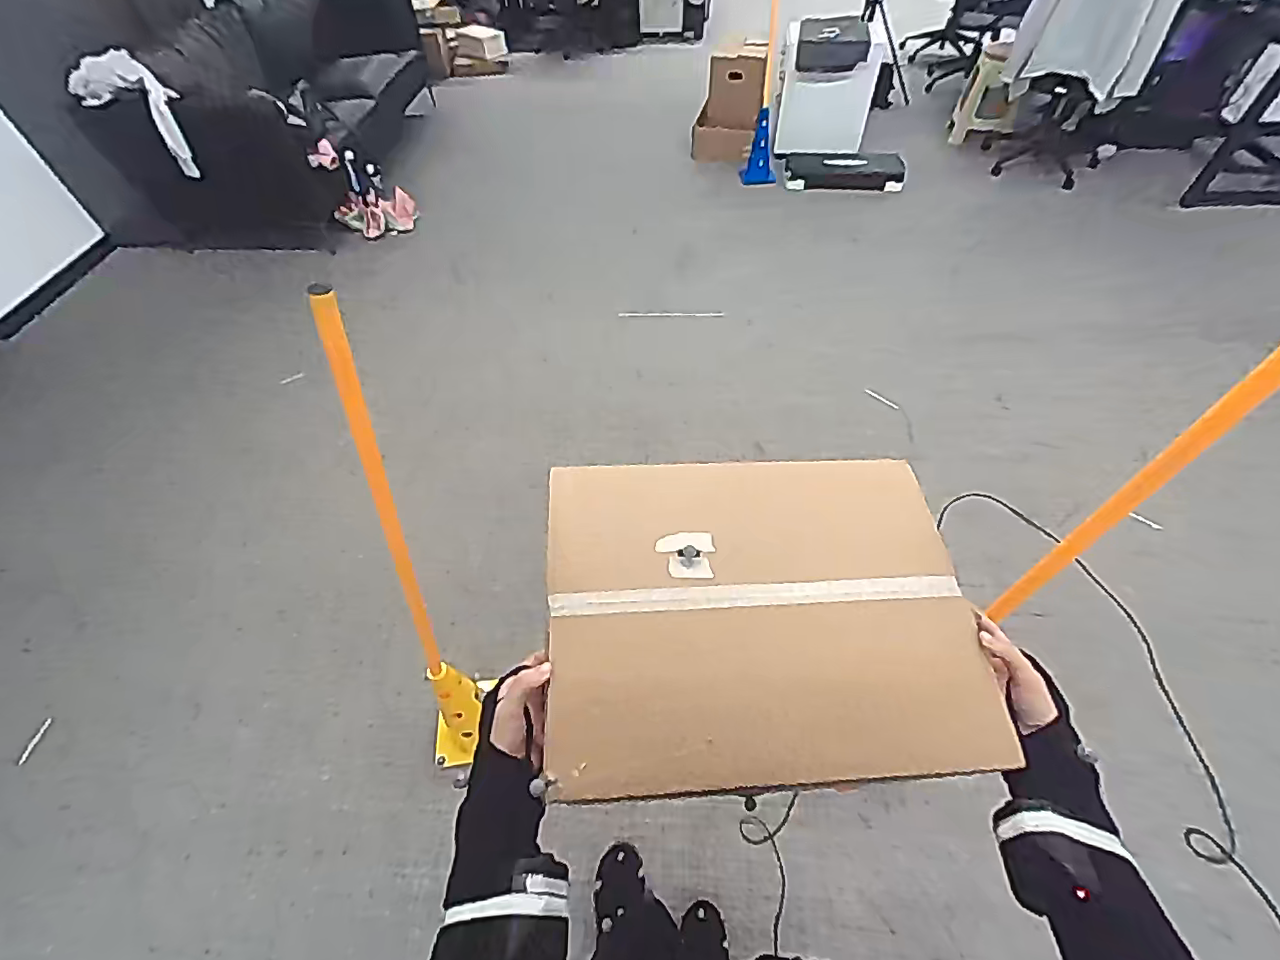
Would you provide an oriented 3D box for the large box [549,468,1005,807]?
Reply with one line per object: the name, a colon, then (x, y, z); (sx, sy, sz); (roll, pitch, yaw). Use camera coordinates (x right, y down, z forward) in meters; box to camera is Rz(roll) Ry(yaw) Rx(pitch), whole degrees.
large box: (0.108, 0.202, 0.658); (0.408, 0.320, 0.320); (-2, 58, -4)
